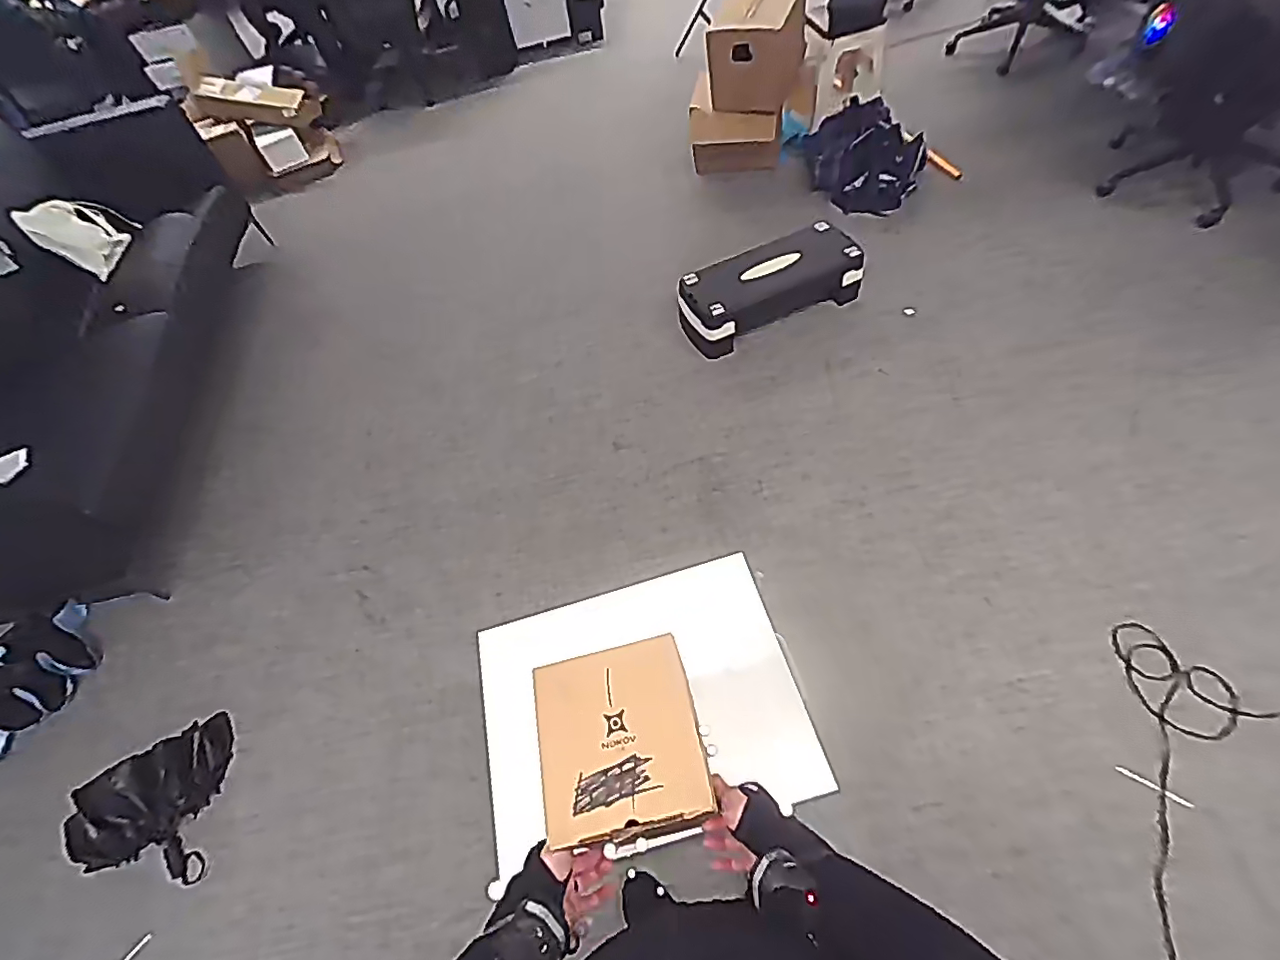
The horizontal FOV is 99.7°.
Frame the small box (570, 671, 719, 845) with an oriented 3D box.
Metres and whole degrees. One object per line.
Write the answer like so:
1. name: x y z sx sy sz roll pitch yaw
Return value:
1. small box: 0.009 0.394 0.761 0.168 0.176 0.179 -15 56 0
